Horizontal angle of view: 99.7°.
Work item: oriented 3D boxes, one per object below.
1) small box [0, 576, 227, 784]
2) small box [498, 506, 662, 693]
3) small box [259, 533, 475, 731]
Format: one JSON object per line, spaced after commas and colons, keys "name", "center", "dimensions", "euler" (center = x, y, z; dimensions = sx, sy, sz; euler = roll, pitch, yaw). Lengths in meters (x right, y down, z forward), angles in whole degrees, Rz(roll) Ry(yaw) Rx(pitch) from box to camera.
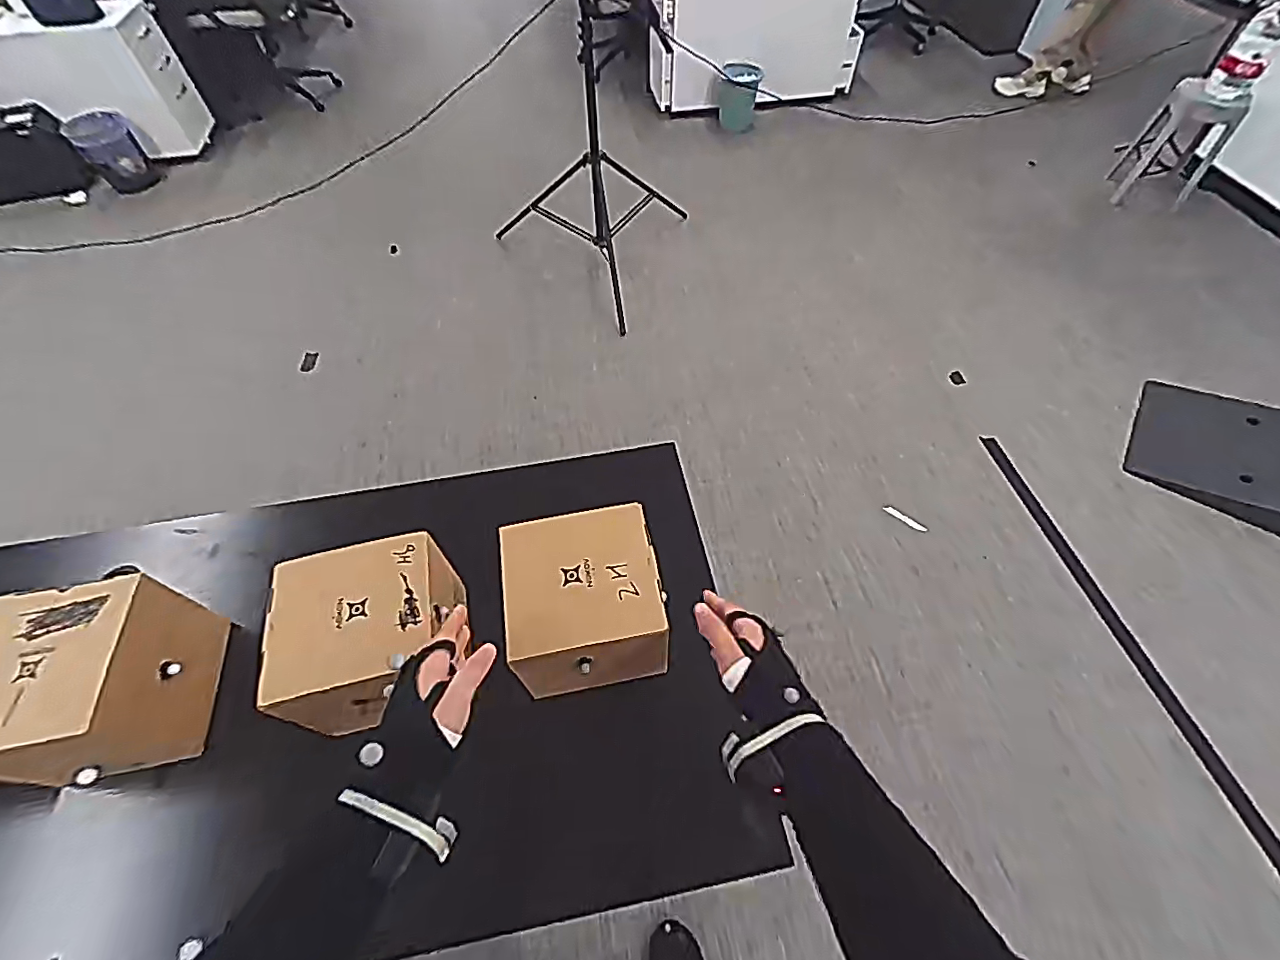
{"name": "small box", "center": [-0.633, 0.238, 0.636], "dimensions": [0.168, 0.176, 0.179], "euler": [-10, 57, -6]}
{"name": "small box", "center": [-0.071, 0.157, 0.685], "dimensions": [0.179, 0.176, 0.168], "euler": [-10, 57, -5]}
{"name": "small box", "center": [-0.319, 0.192, 0.665], "dimensions": [0.179, 0.176, 0.168], "euler": [-13, 57, -8]}
